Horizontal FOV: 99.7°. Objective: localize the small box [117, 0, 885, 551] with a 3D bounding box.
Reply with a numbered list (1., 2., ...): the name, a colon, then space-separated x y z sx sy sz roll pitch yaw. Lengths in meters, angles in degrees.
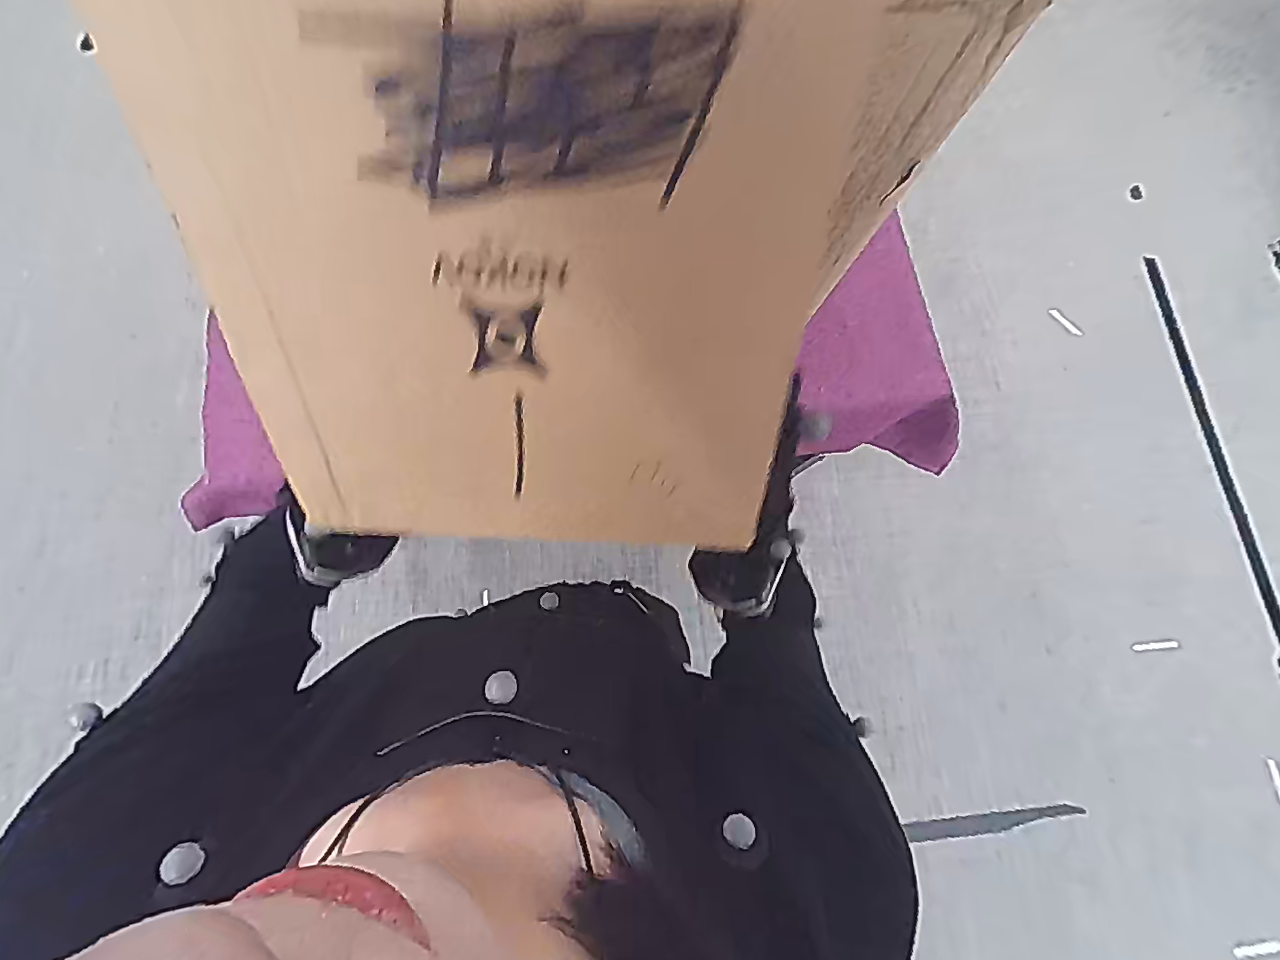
1. small box: -0.032 -0.094 0.216 0.168 0.179 0.176 3 35 -1
